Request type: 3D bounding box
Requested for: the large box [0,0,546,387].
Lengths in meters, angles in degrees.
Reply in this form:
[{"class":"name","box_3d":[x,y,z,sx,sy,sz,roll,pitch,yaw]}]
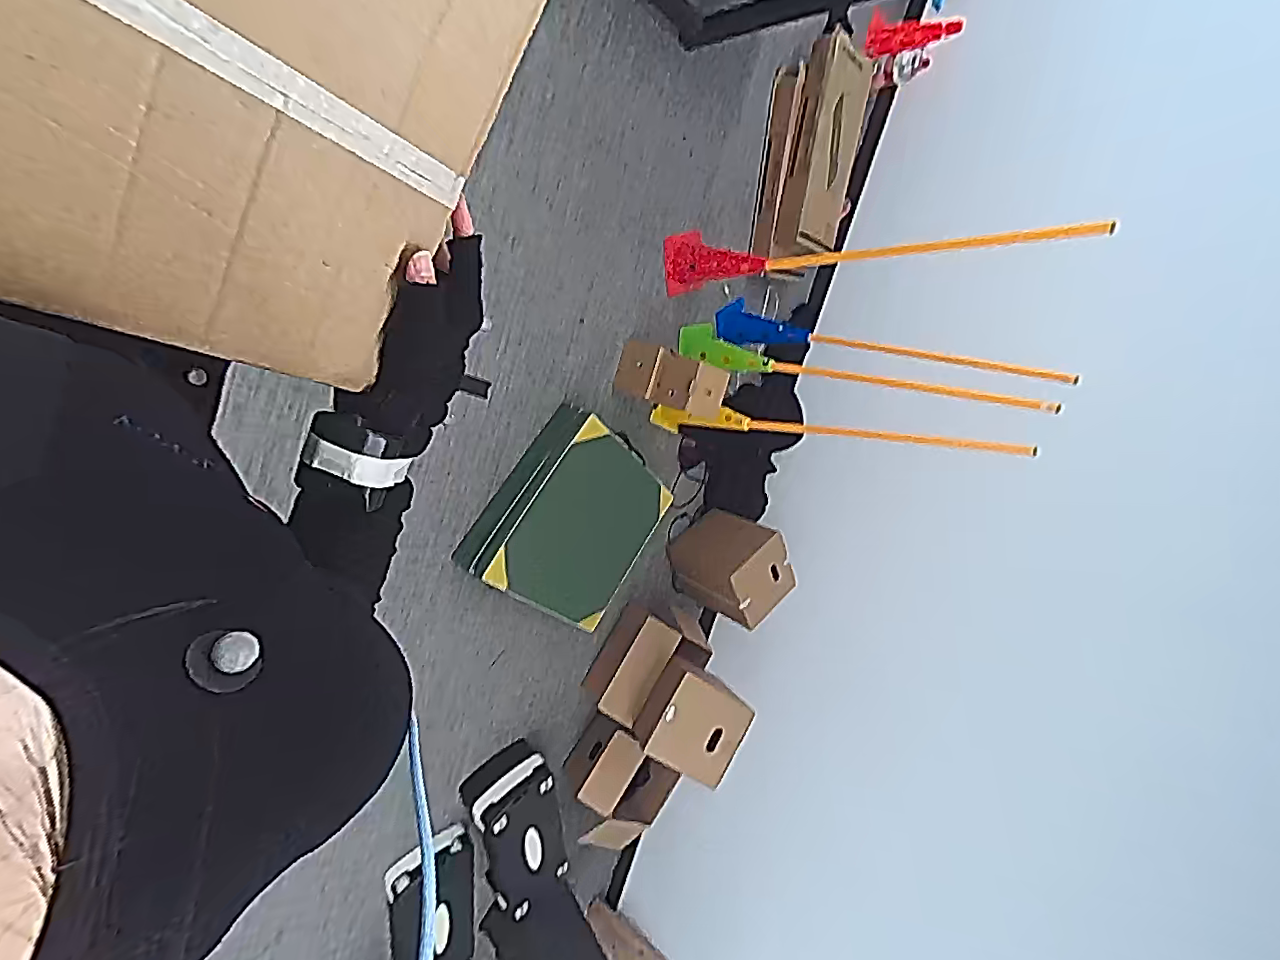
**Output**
[{"class":"large box","box_3d":[-0.335,-0.303,0.307,0.408,0.320,0.320,13,118,-48]}]
